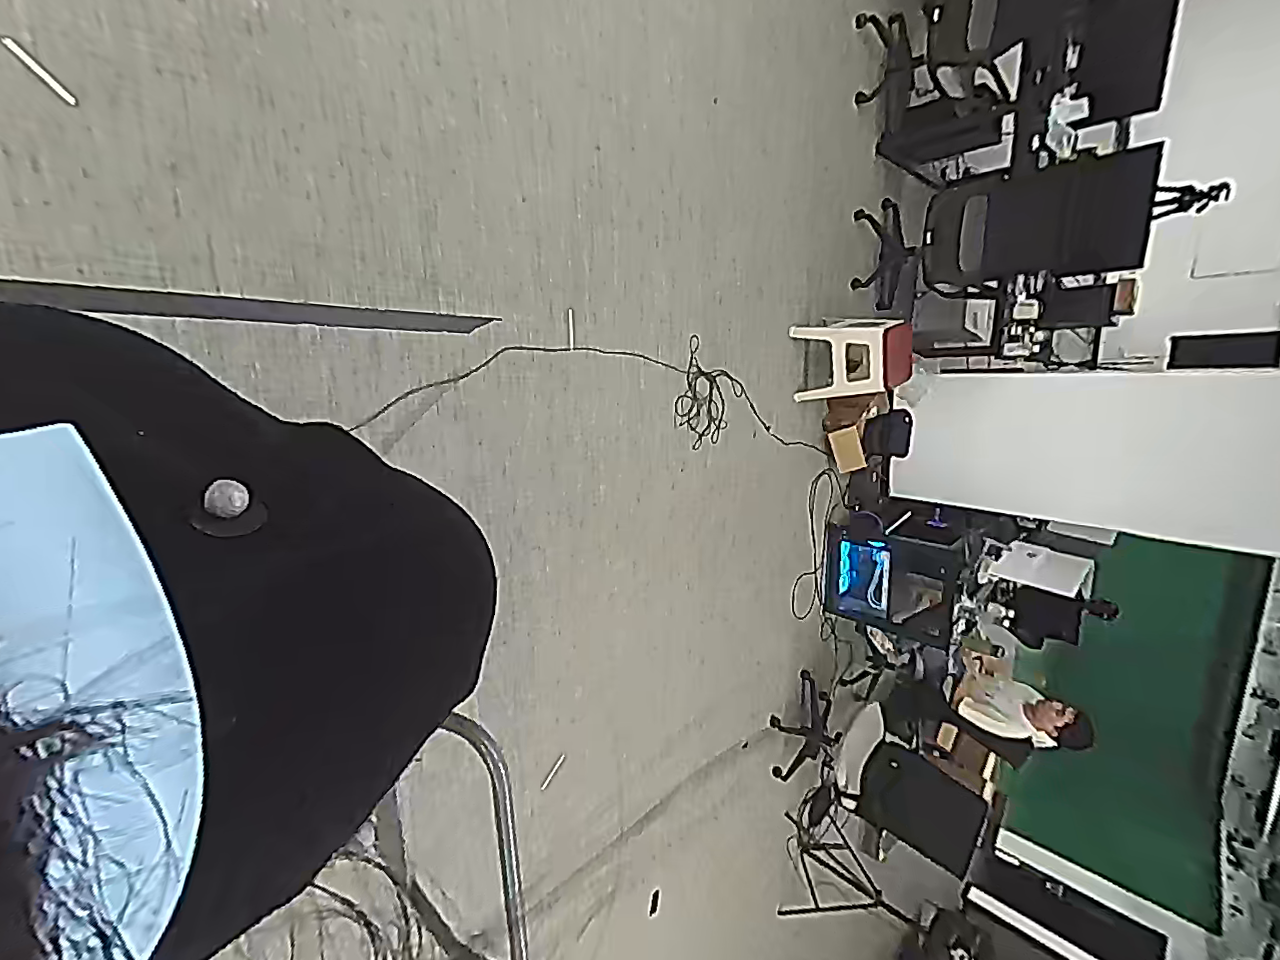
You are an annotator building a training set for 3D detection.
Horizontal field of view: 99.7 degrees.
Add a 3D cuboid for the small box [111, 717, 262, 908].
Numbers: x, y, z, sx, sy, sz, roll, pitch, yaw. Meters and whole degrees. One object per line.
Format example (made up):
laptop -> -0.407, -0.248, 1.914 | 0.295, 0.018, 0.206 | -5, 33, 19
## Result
small box -> -0.749, 0.533, 0.896 | 0.168, 0.176, 0.179 | -11, 104, -43
